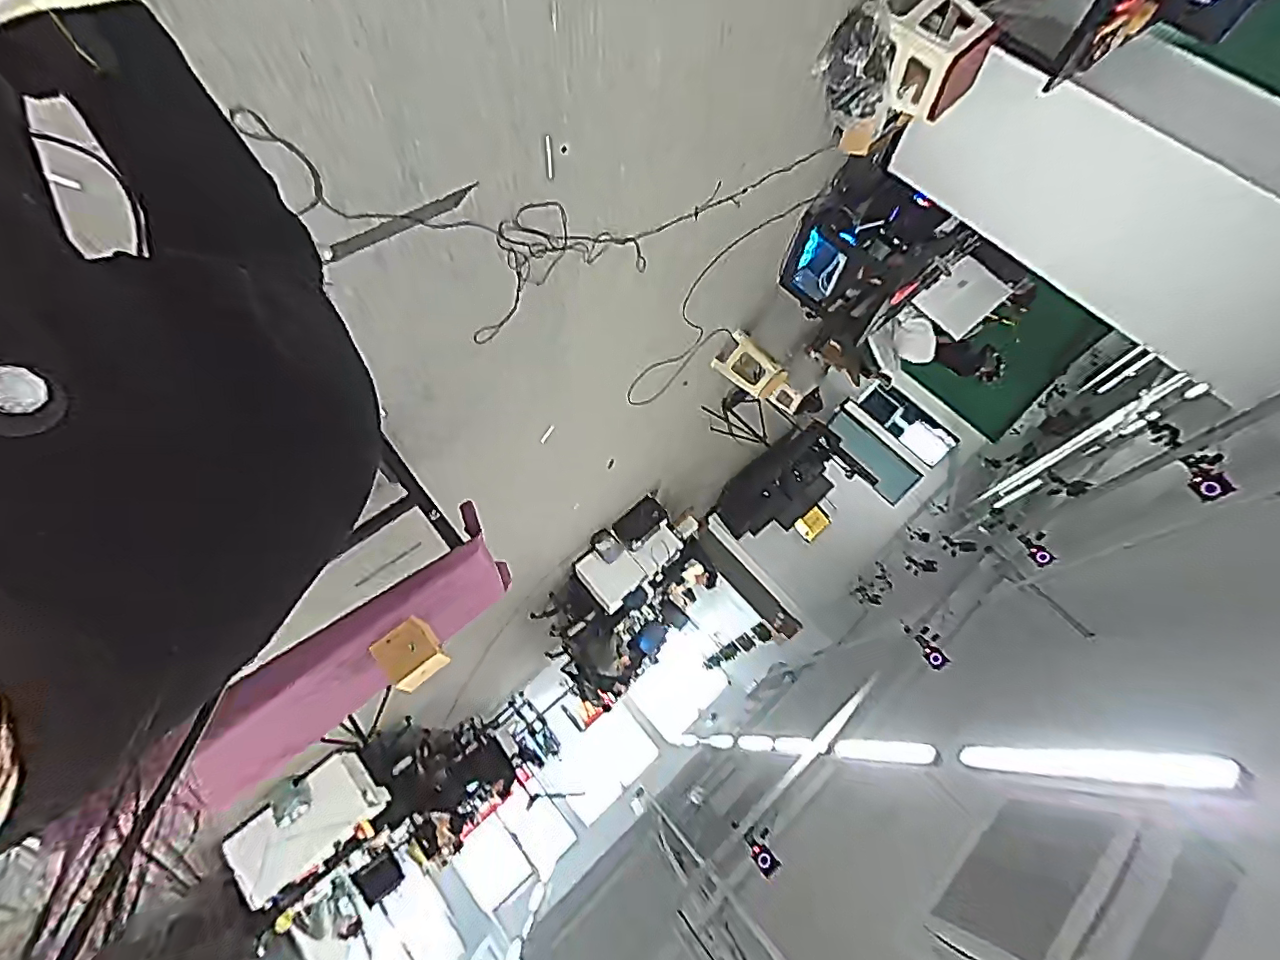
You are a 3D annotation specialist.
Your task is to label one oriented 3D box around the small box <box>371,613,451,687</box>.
[{"bbox_3d":[-0.788,0.583,1.860,0.168,0.176,0.179,-38,164,-19],"label":"small box"}]
